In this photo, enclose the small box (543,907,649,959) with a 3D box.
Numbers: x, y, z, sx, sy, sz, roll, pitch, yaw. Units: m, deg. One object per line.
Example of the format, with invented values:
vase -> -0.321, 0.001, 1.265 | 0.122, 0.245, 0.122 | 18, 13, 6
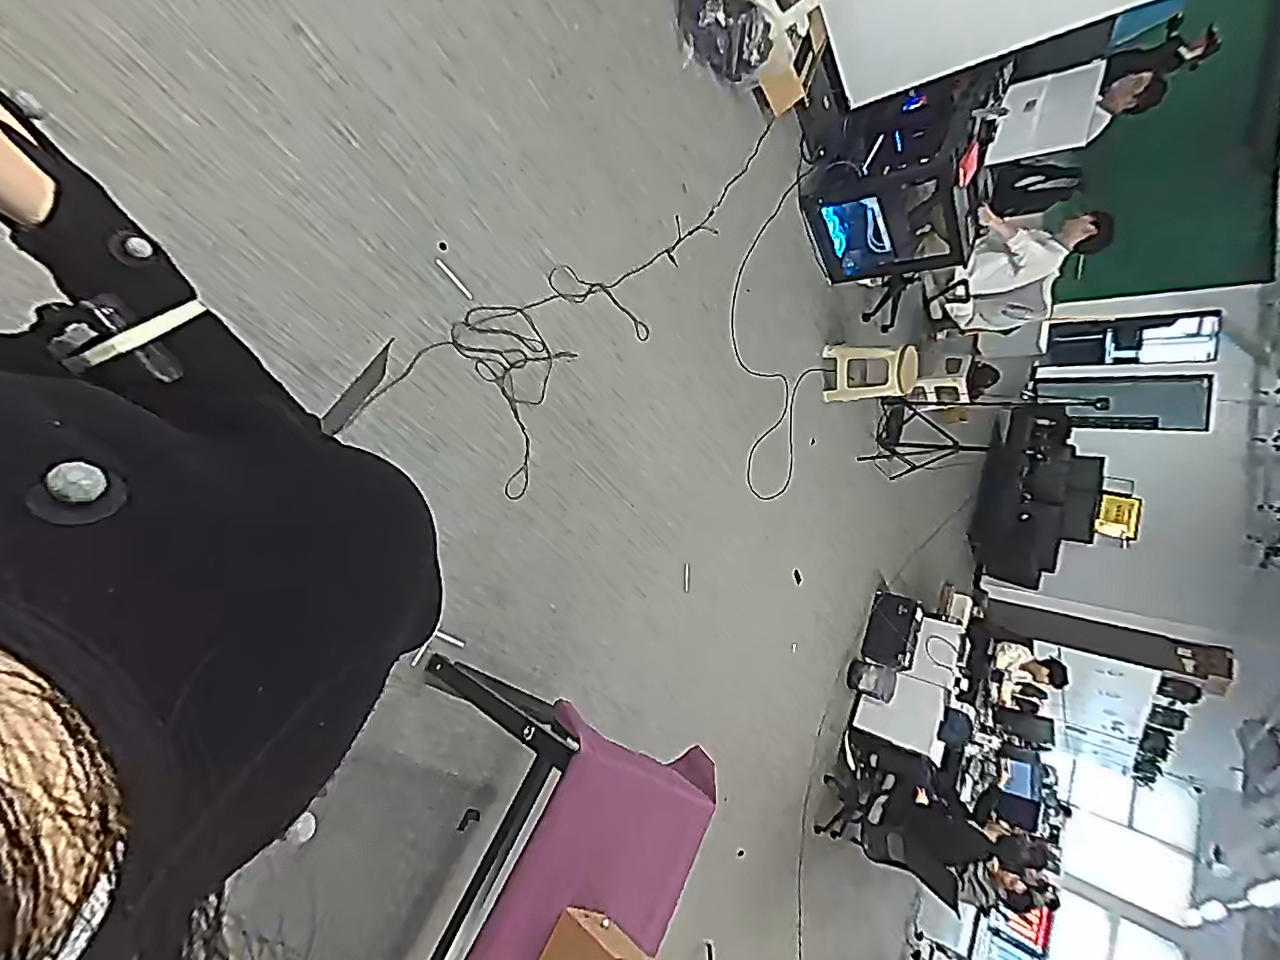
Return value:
small box -> -0.096, 1.019, 1.091 | 0.168, 0.176, 0.179 | 52, 59, -38
